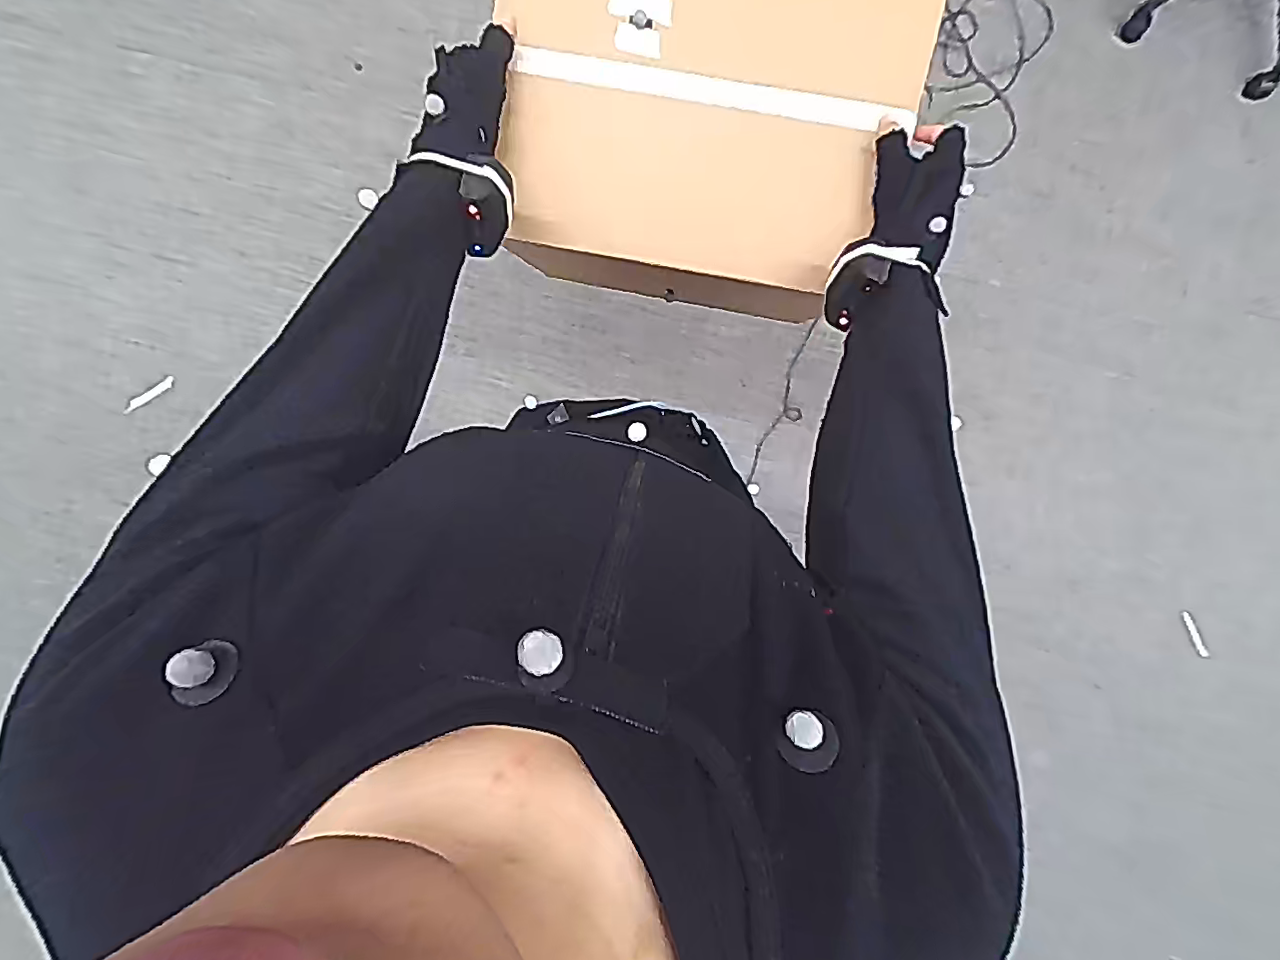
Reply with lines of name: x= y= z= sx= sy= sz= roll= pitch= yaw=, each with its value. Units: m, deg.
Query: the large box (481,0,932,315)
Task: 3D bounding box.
large box: x=0.065 y=-0.399 z=0.666 sx=0.408 sy=0.320 sz=0.320 roll=11 pitch=102 yaw=2
